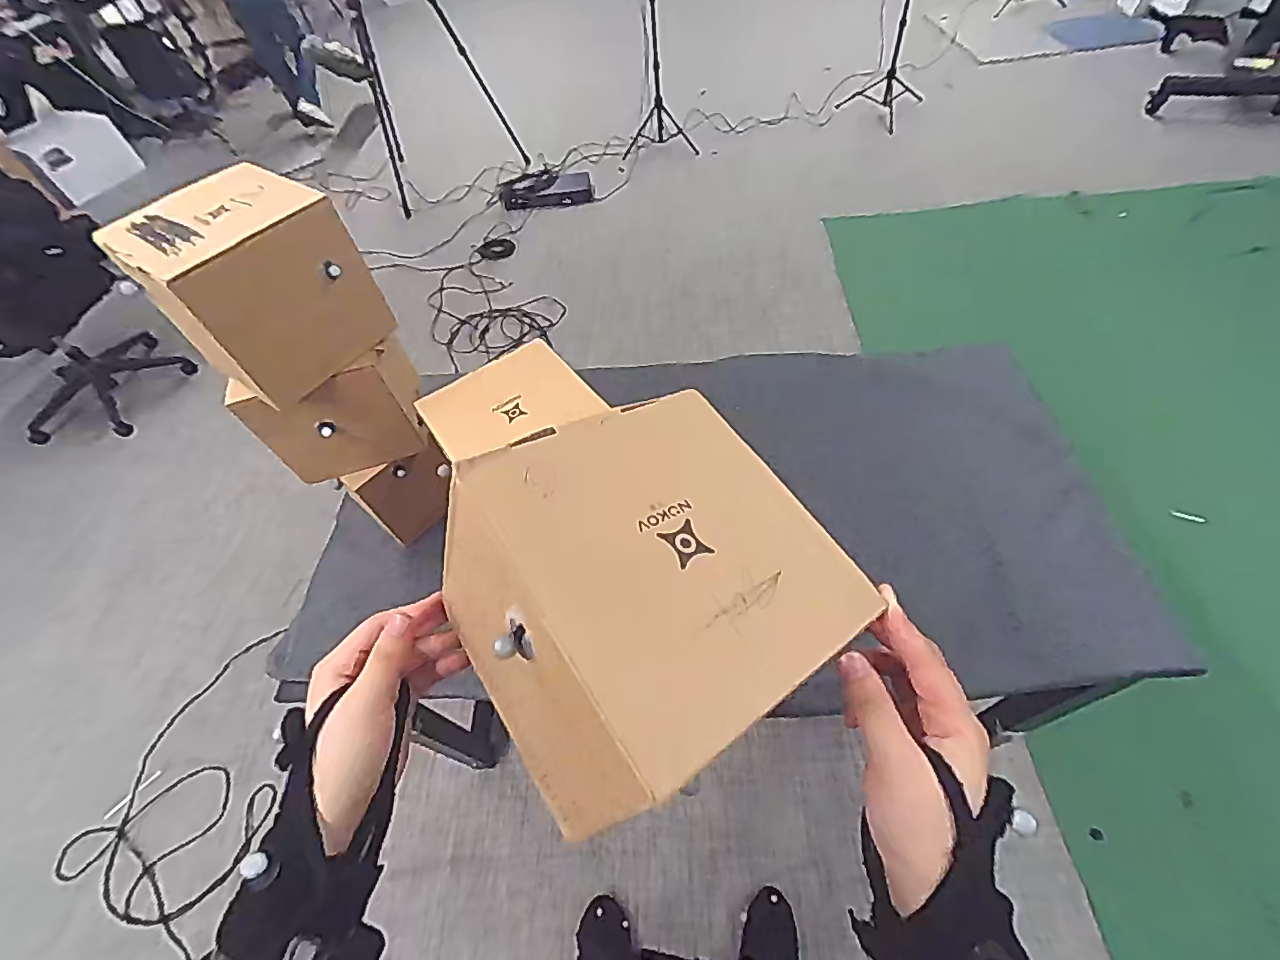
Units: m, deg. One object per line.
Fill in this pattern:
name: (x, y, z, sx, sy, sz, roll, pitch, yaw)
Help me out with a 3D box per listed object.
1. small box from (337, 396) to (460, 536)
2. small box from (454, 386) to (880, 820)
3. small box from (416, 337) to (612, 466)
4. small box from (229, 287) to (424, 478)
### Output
small box: (-0.398, -0.038, 0.885, 0.179, 0.176, 0.168, 33, 64, 26)
small box: (-0.004, 0.076, 0.336, 0.168, 0.176, 0.179, -25, 67, -32)
small box: (-0.127, -0.029, 0.642, 0.168, 0.176, 0.179, -33, 57, -16)
small box: (-0.415, -0.130, 0.749, 0.179, 0.176, 0.168, -18, 55, -6)
